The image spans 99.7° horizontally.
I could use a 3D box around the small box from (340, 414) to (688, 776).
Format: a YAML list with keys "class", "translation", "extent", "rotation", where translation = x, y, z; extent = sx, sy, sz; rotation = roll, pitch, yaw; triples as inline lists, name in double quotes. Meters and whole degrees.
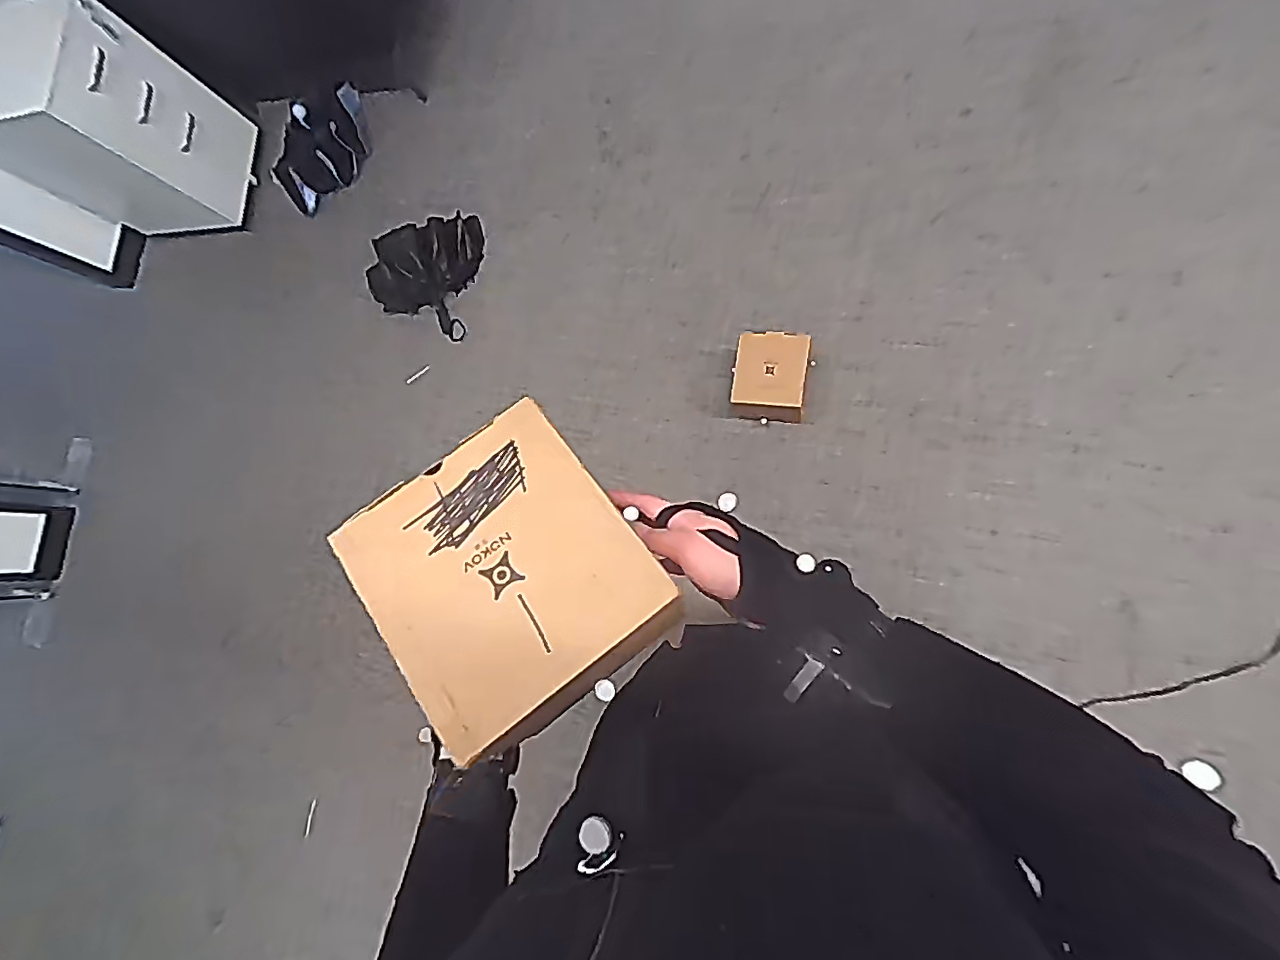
- class: "small box"
  translation: [-0.080, 0.087, 0.419]
  extent: [0.168, 0.176, 0.179]
  rotation: [-36, 73, -7]

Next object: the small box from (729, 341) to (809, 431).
- class: "small box"
  translation: [0.325, -0.230, 1.346]
  extent: [0.168, 0.176, 0.179]
  rotation: [7, 86, 19]
